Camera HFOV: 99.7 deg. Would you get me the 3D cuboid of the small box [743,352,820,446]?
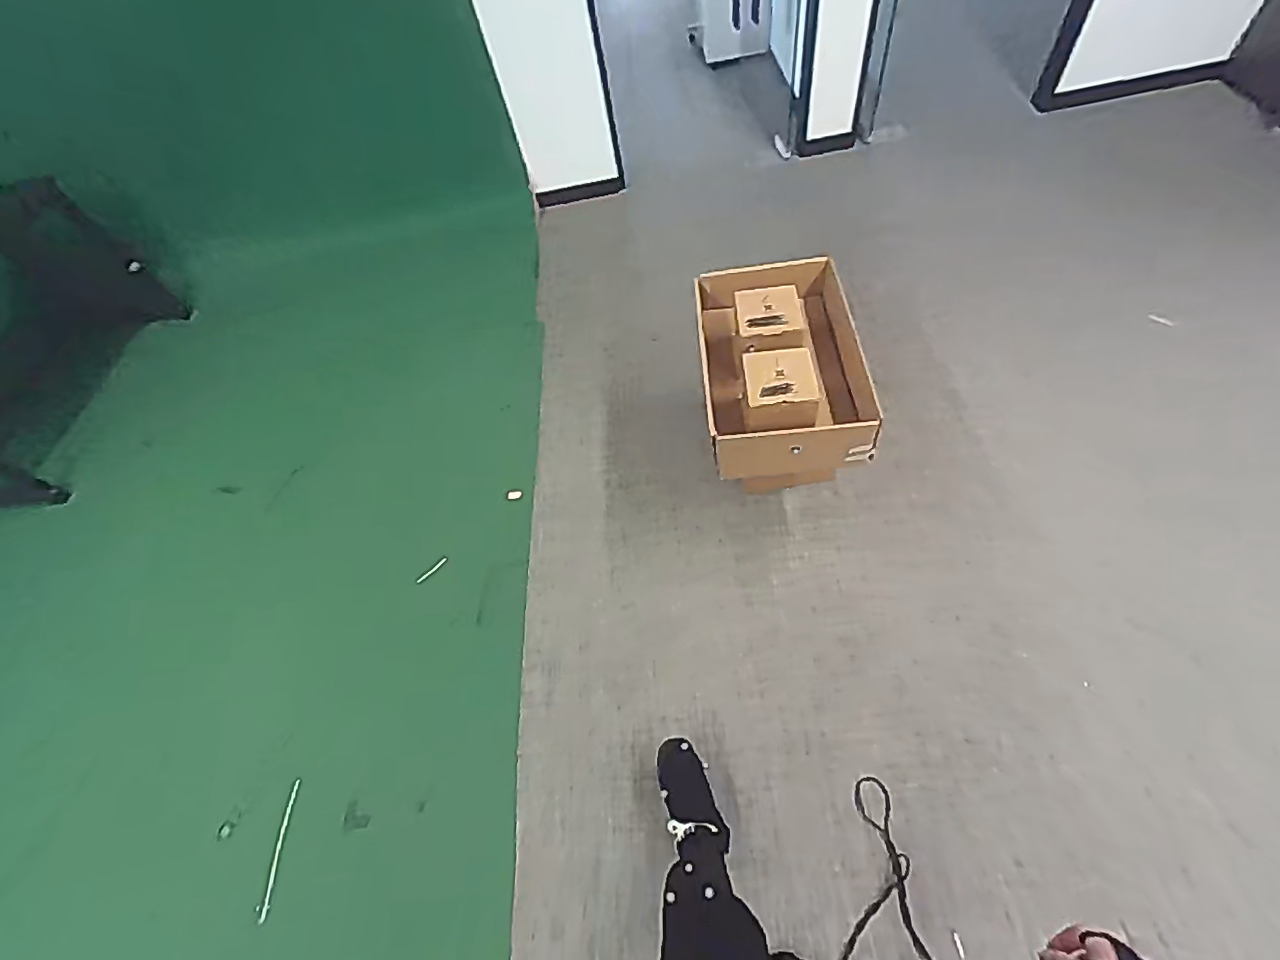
[{"bbox_3d":[0.352,-0.198,1.374,0.168,0.176,0.179,-4,56,7],"label":"small box"}]
